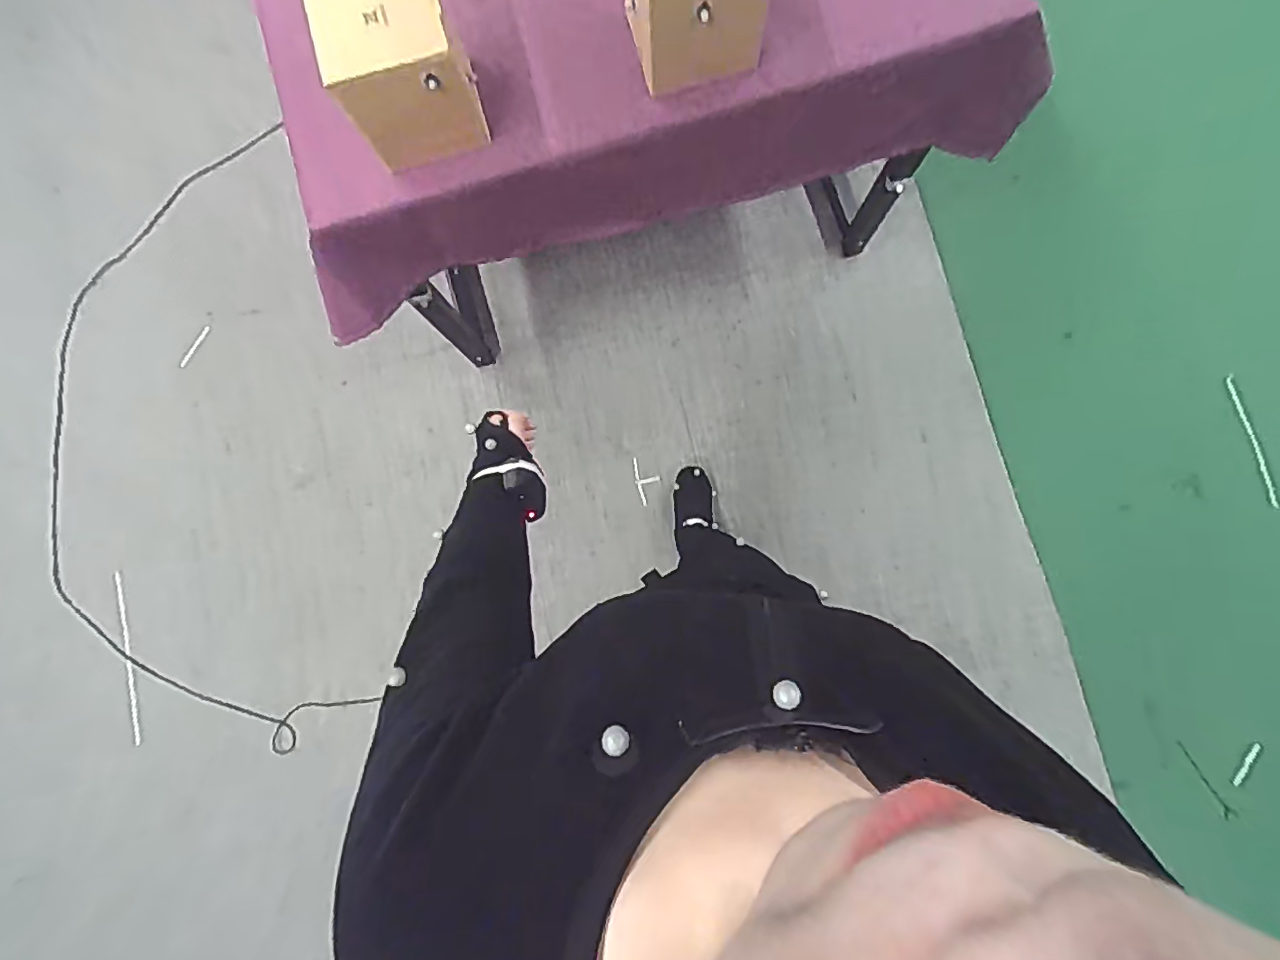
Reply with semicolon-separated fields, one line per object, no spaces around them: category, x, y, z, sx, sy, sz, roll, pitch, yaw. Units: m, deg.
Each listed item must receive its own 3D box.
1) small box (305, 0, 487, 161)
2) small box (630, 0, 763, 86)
small box;-0.348;-0.608;0.791;0.179;0.176;0.168;-16;83;-1
small box;0.078;-0.723;0.788;0.179;0.176;0.168;-14;84;0
